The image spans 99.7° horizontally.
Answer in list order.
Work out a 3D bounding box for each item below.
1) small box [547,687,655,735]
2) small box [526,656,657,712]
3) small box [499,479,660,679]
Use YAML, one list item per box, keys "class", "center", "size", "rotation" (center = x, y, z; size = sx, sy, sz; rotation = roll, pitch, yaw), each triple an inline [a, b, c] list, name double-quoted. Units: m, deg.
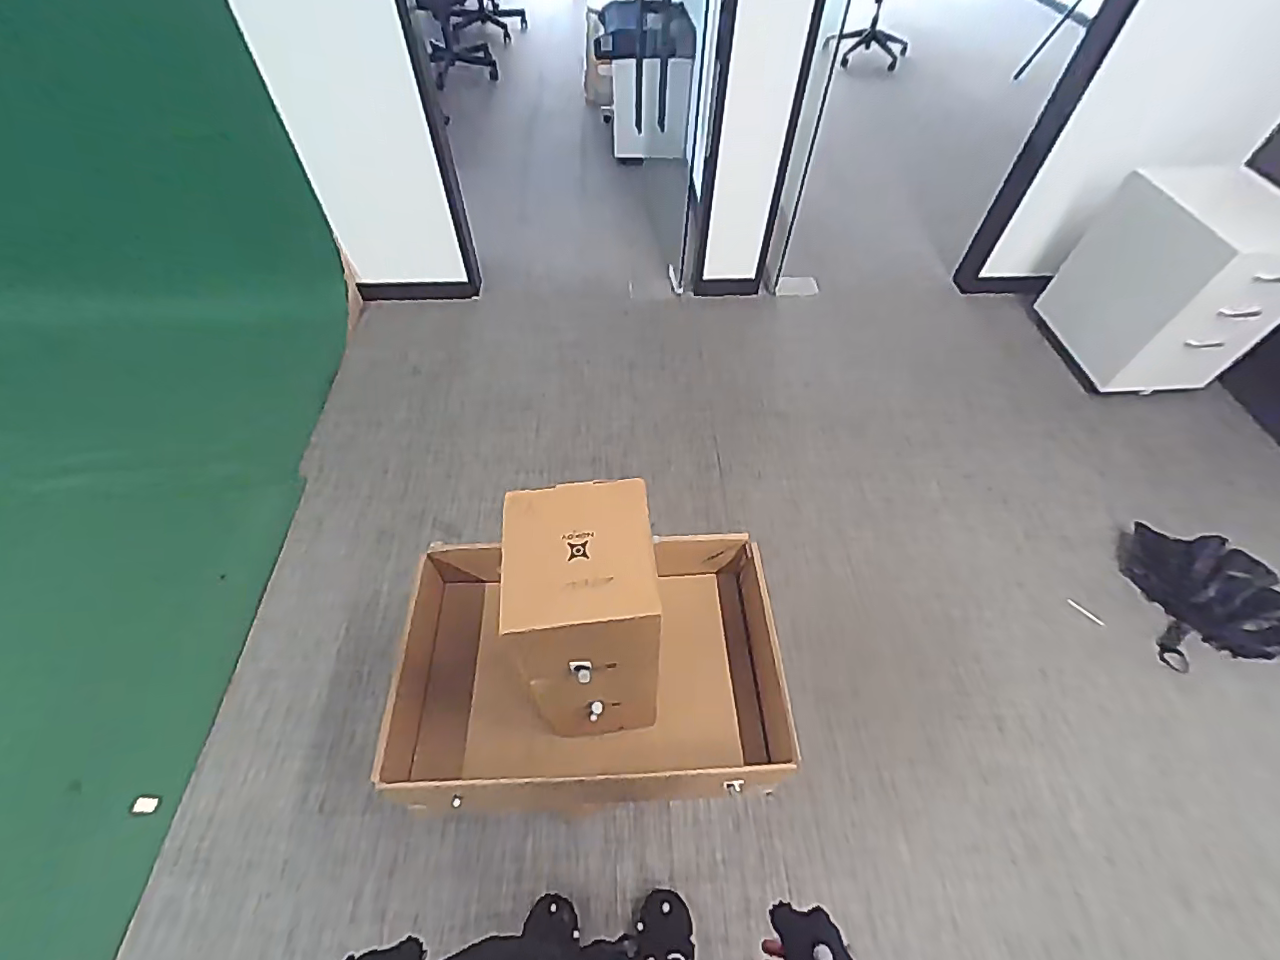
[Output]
- class: "small box"
  center: [-0.068, 0.313, 0.921]
  size: [0.168, 0.176, 0.179]
  rotation: [-7, 52, -3]
- class: "small box"
  center: [-0.070, 0.219, 0.787]
  size: [0.168, 0.176, 0.179]
  rotation: [-6, 54, -4]
- class: "small box"
  center: [-0.070, 0.122, 0.658]
  size: [0.168, 0.176, 0.179]
  rotation: [-7, 54, -3]
